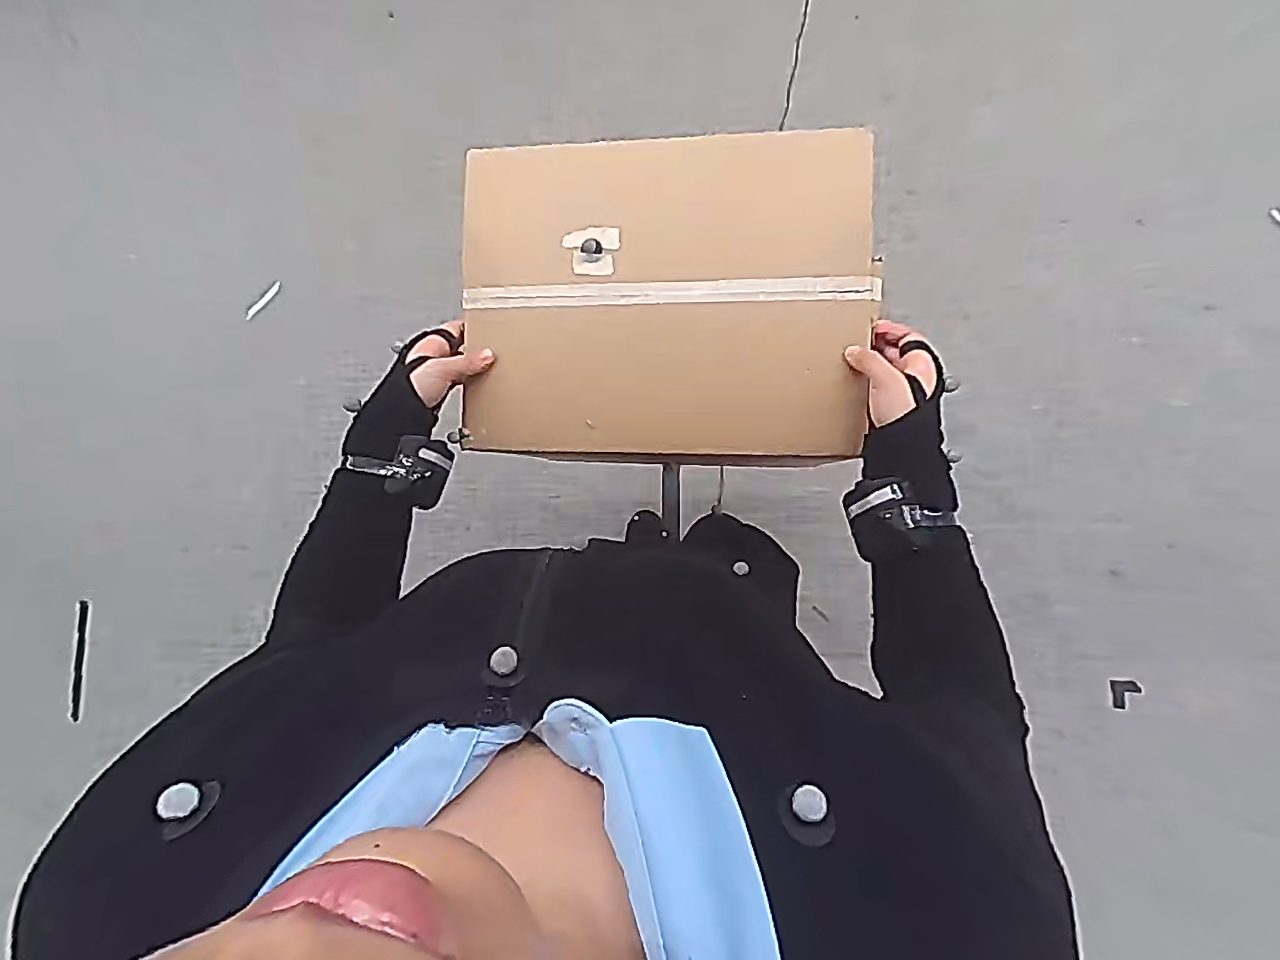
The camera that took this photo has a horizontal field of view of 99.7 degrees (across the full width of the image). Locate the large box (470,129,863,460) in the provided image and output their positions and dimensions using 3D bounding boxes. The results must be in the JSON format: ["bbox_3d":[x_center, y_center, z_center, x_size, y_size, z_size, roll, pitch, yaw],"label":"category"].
[{"bbox_3d":[0.041,-0.184,0.693,0.408,0.320,0.320,1,88,9],"label":"large box"}]
